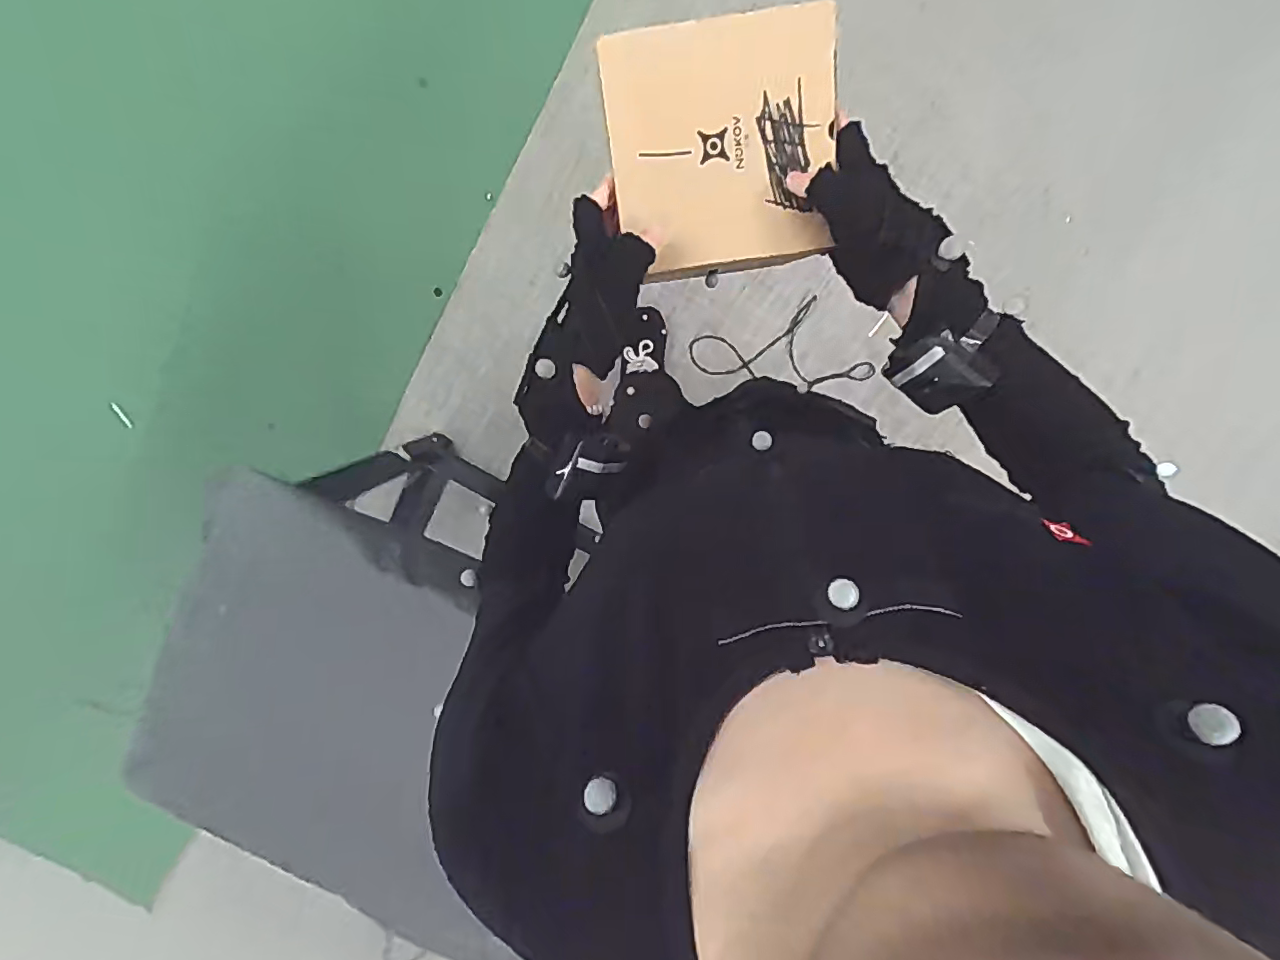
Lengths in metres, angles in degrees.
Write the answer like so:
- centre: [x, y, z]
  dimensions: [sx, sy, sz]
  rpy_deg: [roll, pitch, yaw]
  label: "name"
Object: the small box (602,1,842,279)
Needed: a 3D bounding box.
- centre: [0.064, -0.280, 0.486]
  dimensions: [0.179, 0.176, 0.168]
  rpy_deg: [-7, 107, 1]
  label: "small box"
